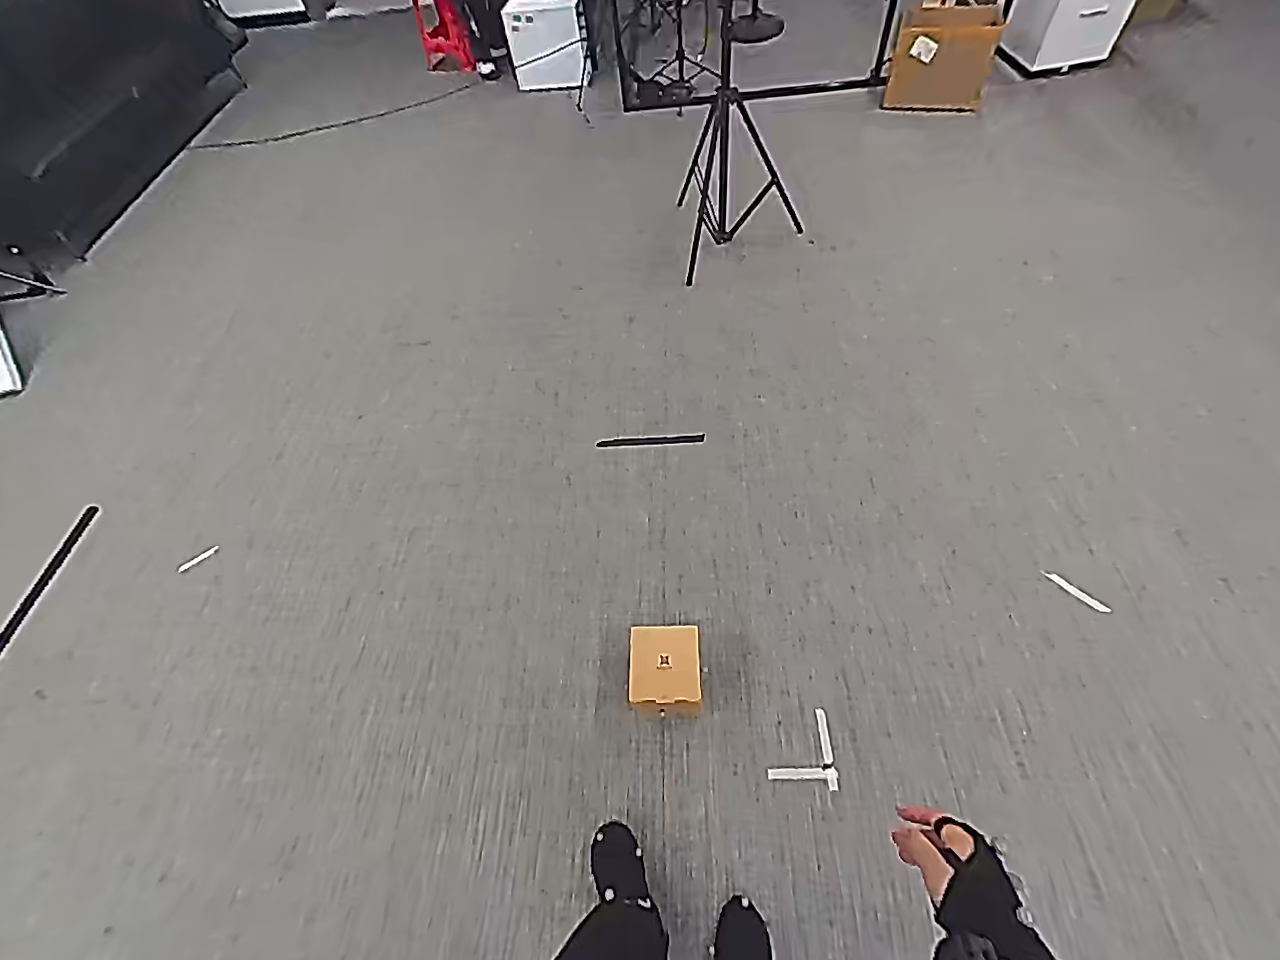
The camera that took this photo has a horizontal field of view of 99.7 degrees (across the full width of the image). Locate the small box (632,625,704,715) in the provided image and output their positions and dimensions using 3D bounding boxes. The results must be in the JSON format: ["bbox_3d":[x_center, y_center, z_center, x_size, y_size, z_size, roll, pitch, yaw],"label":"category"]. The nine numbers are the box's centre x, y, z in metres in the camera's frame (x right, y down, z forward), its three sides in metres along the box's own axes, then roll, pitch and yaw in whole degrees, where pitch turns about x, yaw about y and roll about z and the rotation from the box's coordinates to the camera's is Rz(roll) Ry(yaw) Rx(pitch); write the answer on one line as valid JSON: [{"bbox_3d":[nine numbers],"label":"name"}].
[{"bbox_3d":[0.071,0.471,1.334,0.168,0.176,0.179,-3,57,5],"label":"small box"}]
